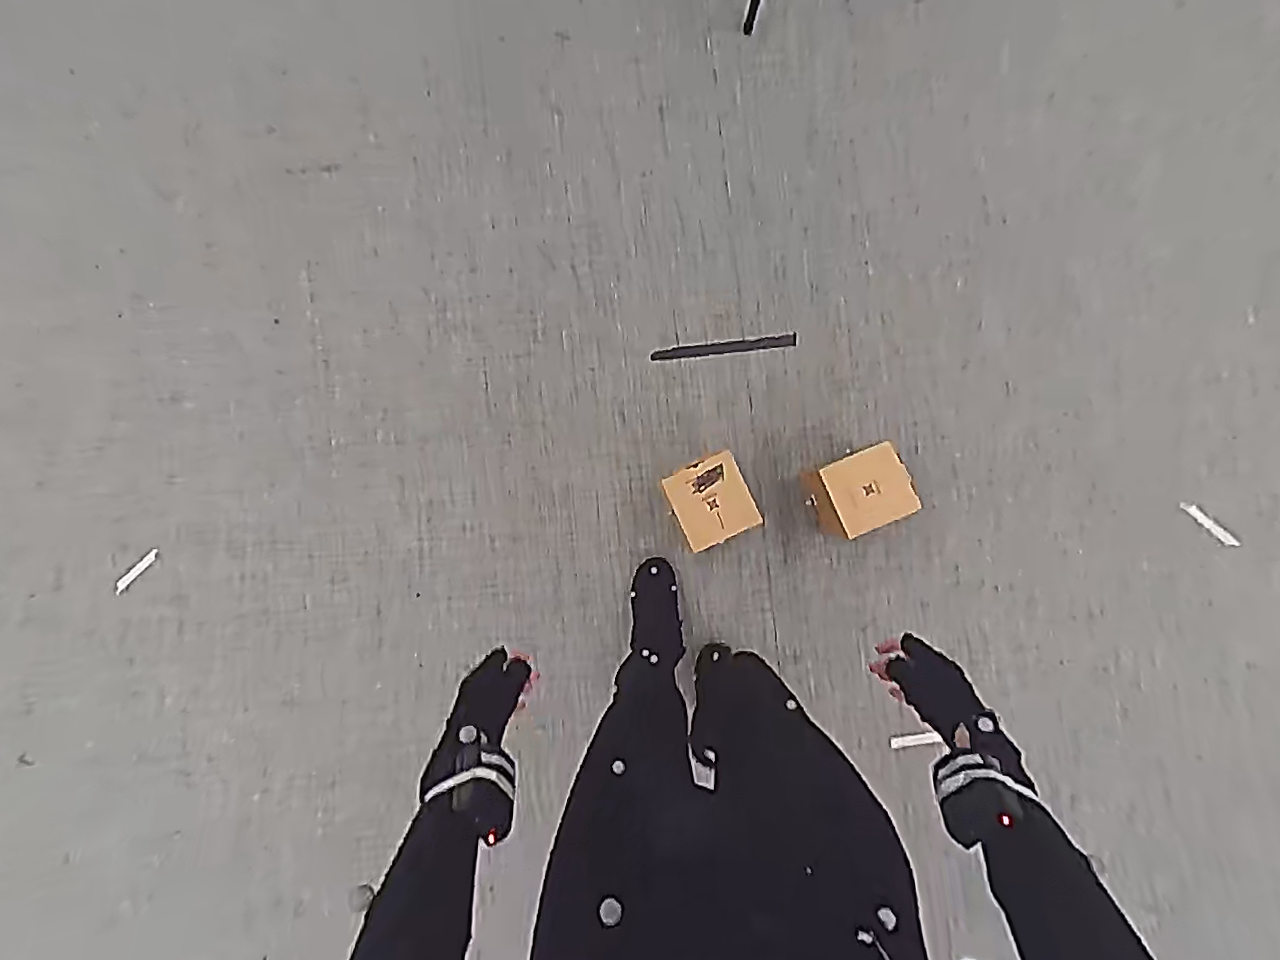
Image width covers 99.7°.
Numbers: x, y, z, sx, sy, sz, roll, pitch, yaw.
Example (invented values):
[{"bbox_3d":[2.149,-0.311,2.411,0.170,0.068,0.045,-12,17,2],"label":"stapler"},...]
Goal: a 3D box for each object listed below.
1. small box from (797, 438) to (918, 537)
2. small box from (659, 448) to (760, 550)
[{"bbox_3d":[0.488,0.019,1.239,0.179,0.176,0.168,-24,86,-1],"label":"small box"},{"bbox_3d":[0.148,0.046,1.236,0.168,0.176,0.179,-25,87,-1],"label":"small box"}]
